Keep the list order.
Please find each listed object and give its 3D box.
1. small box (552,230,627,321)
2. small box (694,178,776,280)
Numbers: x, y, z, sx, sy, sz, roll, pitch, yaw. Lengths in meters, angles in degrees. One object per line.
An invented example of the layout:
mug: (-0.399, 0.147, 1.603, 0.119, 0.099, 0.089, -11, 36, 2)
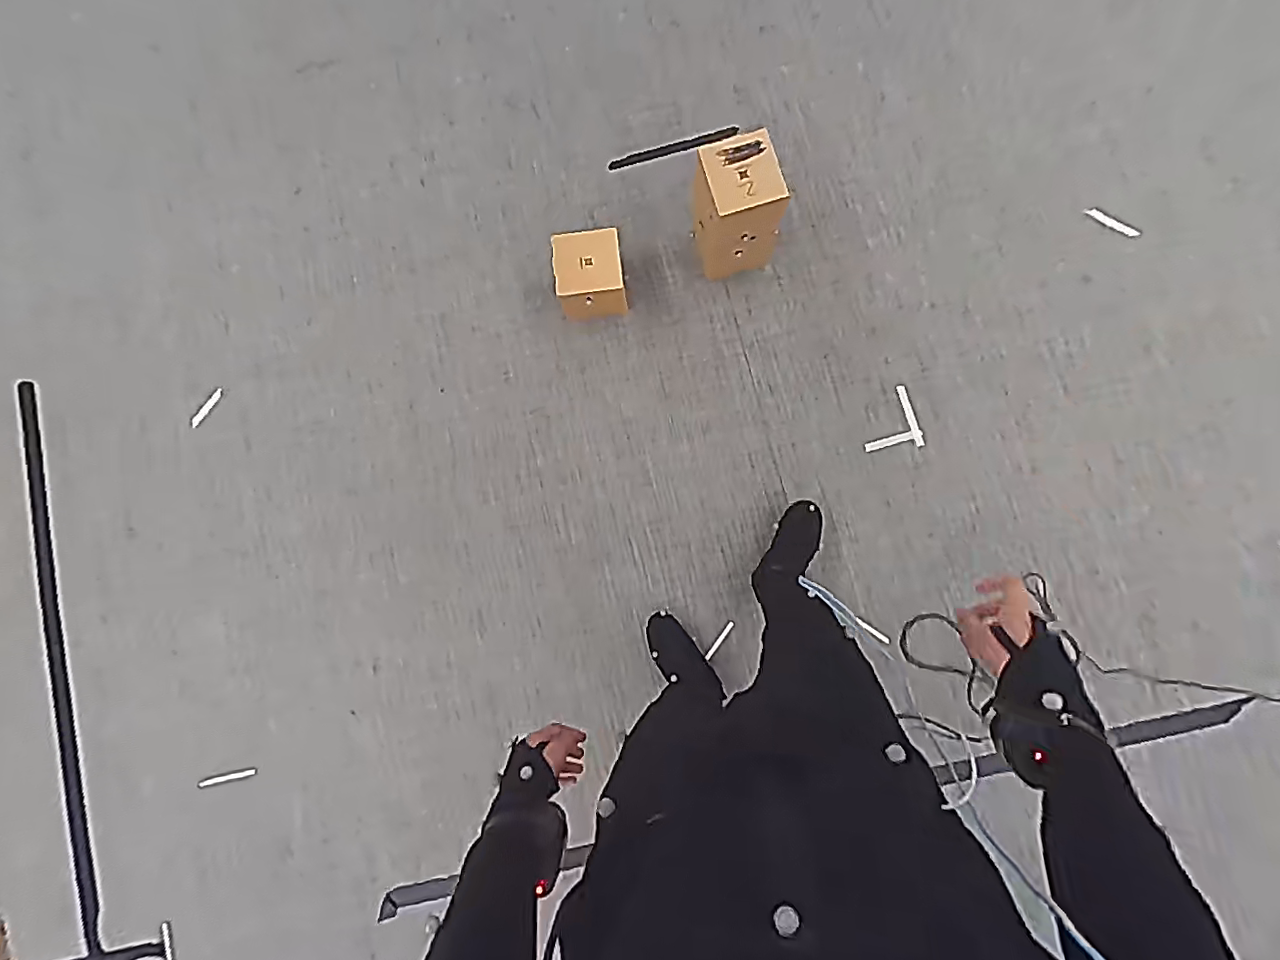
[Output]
small box: (-0.131, -0.548, 1.465, 0.179, 0.176, 0.168, -7, 85, 3)
small box: (0.247, -0.667, 1.458, 0.179, 0.176, 0.168, -16, 84, 0)
